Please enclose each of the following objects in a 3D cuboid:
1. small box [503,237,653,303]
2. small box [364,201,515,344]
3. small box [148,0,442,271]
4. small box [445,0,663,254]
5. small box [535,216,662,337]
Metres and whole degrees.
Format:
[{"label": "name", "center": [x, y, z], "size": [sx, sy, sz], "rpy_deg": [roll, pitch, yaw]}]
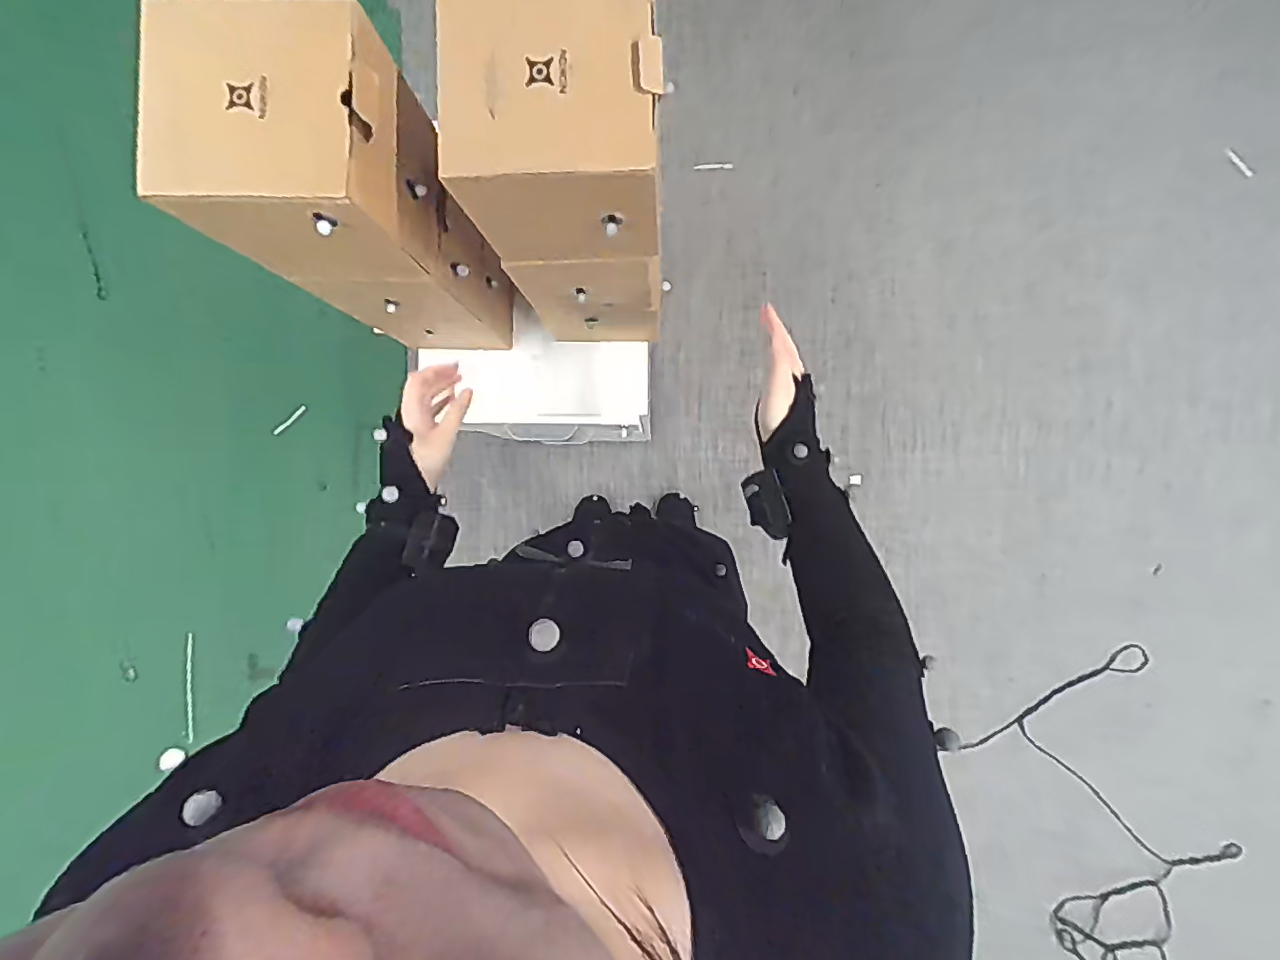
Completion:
[{"label": "small box", "center": [-0.068, -0.328, 0.675], "size": [0.168, 0.176, 0.179], "rpy_deg": [-1, 90, 2]}, {"label": "small box", "center": [-0.303, -0.314, 0.846], "size": [0.179, 0.176, 0.168], "rpy_deg": [1, 91, -1]}, {"label": "small box", "center": [-0.310, -0.313, 0.518], "size": [0.179, 0.176, 0.168], "rpy_deg": [1, 90, 0]}, {"label": "small box", "center": [-0.066, -0.328, 0.511], "size": [0.179, 0.176, 0.168], "rpy_deg": [0, 90, 3]}, {"label": "small box", "center": [-0.056, -0.325, 0.839], "size": [0.179, 0.176, 0.168], "rpy_deg": [1, 90, 2]}]
